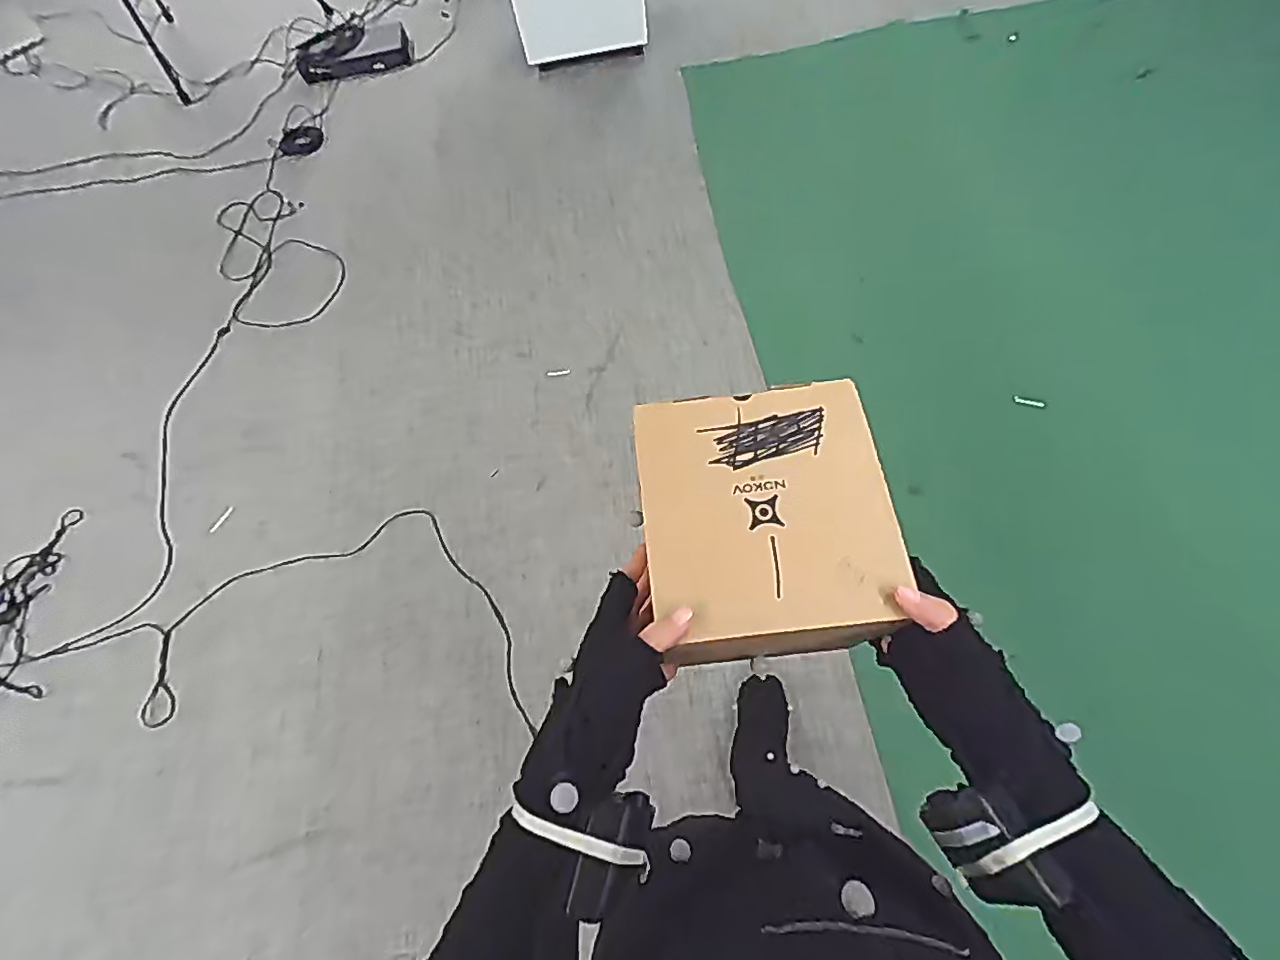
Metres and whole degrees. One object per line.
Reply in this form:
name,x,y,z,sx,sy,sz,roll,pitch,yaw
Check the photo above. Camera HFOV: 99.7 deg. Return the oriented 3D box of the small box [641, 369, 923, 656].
small box,0.092,0.036,0.441,0.168,0.176,0.179,-7,66,2
